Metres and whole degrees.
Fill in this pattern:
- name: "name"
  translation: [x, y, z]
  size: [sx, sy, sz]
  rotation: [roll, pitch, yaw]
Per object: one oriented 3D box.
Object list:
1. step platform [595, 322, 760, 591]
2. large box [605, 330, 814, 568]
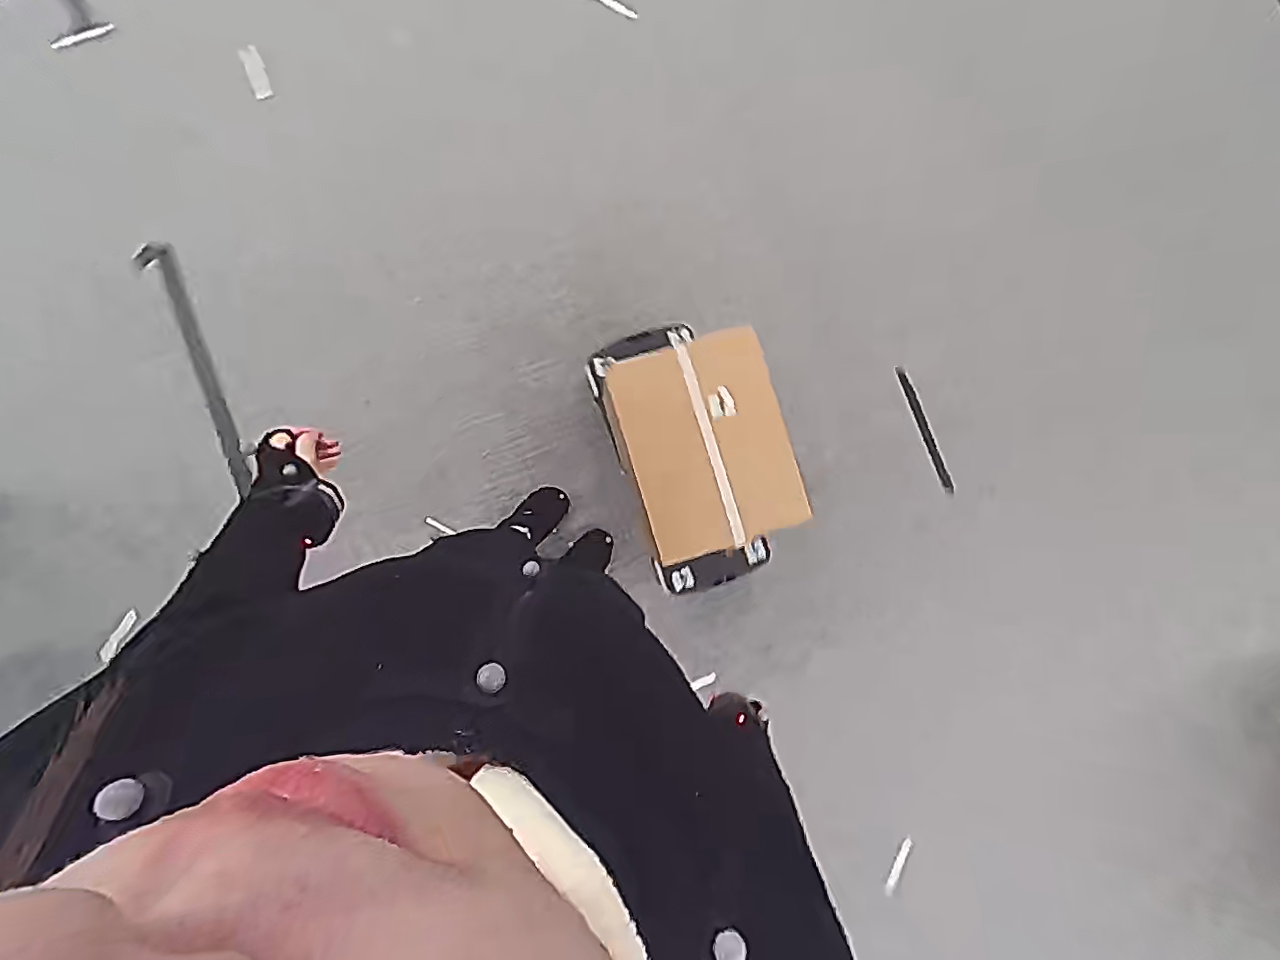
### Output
- name: "step platform"
  translation: [0.092, -0.060, 1.425]
  size: [0.286, 0.204, 0.684]
  rotation: [-14, 88, -5]
- name: "large box"
  translation: [0.127, -0.055, 1.187]
  size: [0.320, 0.320, 0.408]
  rotation: [-16, 88, -5]
